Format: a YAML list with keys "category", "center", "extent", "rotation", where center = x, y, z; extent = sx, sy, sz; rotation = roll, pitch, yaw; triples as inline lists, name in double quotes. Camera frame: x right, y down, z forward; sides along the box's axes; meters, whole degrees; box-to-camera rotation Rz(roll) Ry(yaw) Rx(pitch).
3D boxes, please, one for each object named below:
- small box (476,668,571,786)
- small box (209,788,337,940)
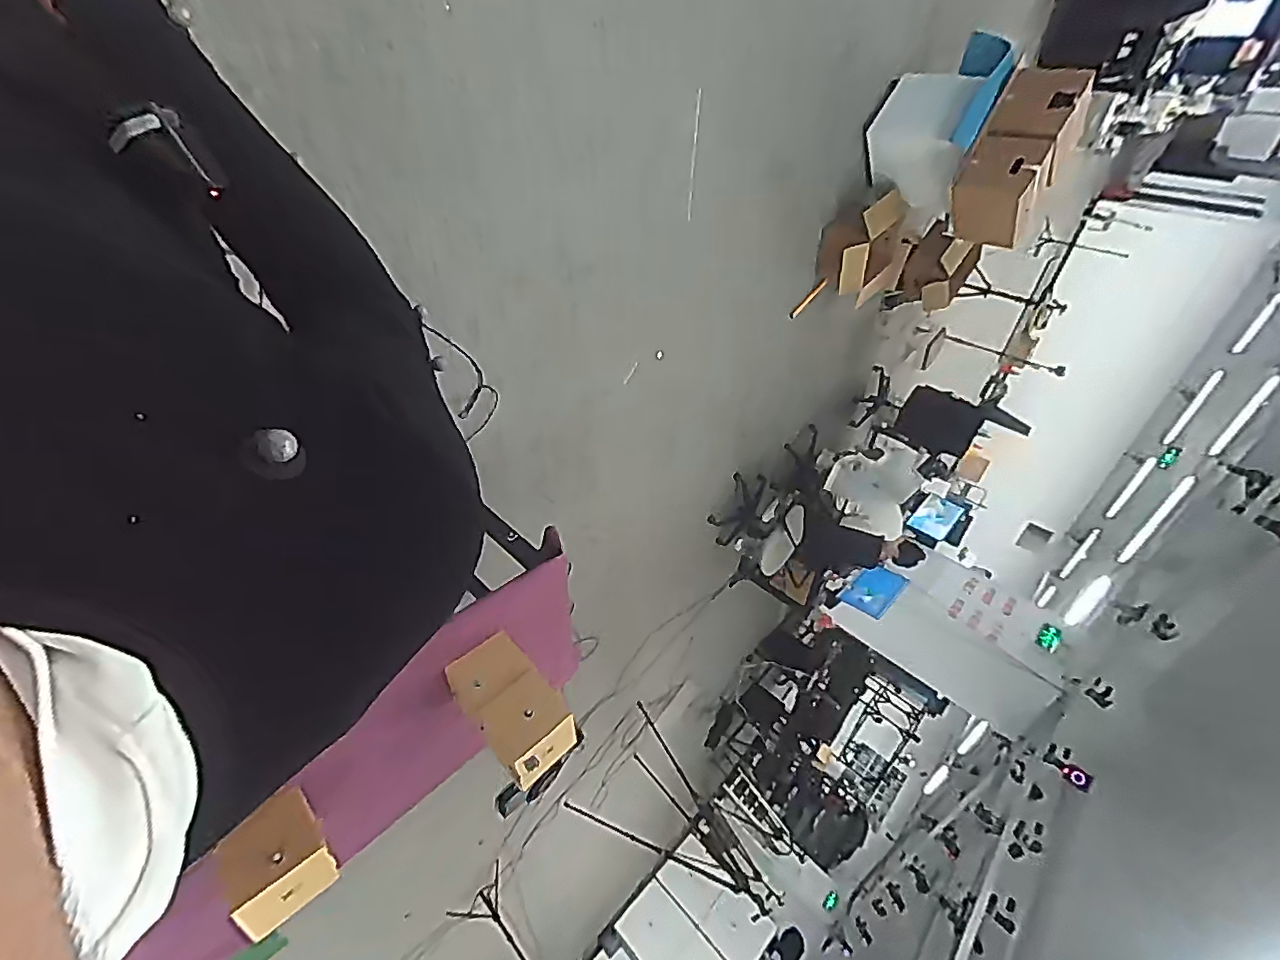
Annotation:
- category: "small box"
  center: [-0.299, 0.621, 1.375]
  extent: [0.179, 0.176, 0.168]
  rotation: [-34, 141, -34]
- category: "small box"
  center: [-0.798, 0.826, 1.175]
  extent: [0.179, 0.176, 0.168]
  rotation: [-29, 138, -41]
